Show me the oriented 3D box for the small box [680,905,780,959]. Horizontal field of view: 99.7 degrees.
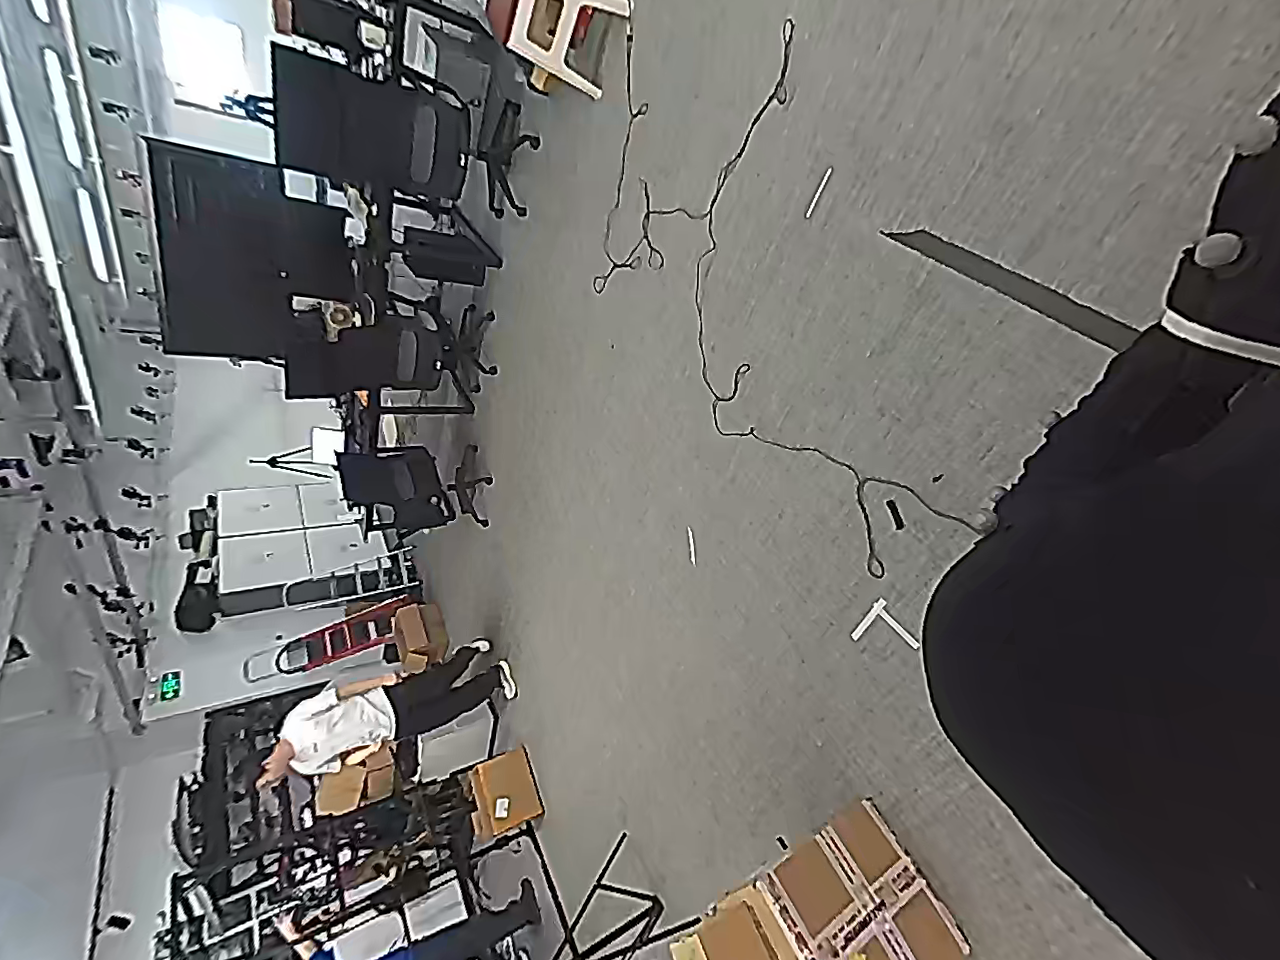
[{"bbox_3d":[0.238,1.218,1.354,0.179,0.176,0.168,60,137,33],"label":"small box"}]
